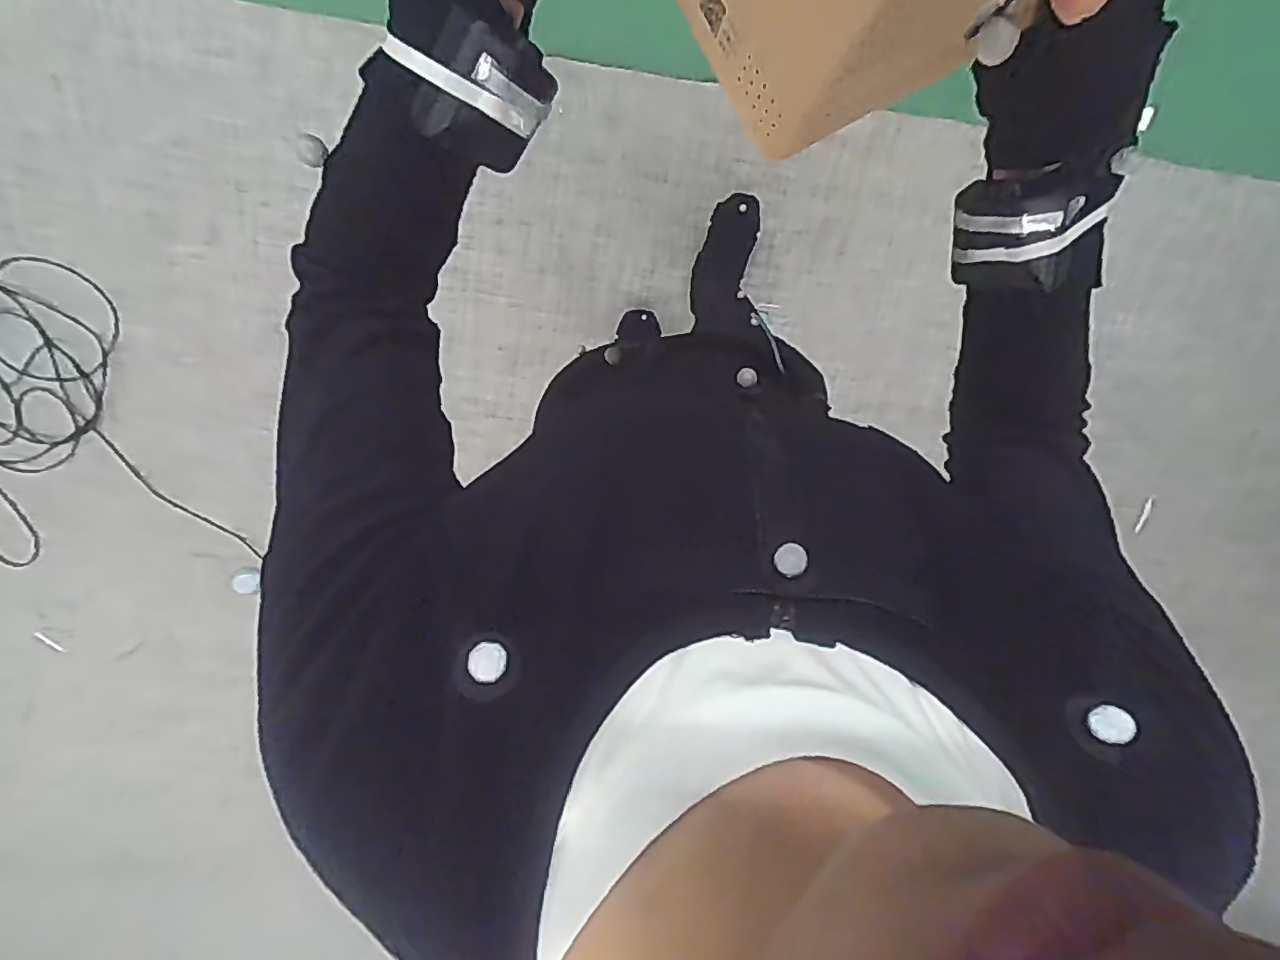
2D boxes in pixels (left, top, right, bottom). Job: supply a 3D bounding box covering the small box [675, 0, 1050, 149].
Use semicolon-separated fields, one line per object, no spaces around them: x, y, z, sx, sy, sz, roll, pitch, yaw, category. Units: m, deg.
0.099;-0.250;0.162;0.179;0.176;0.168;-31;96;-6;small box
